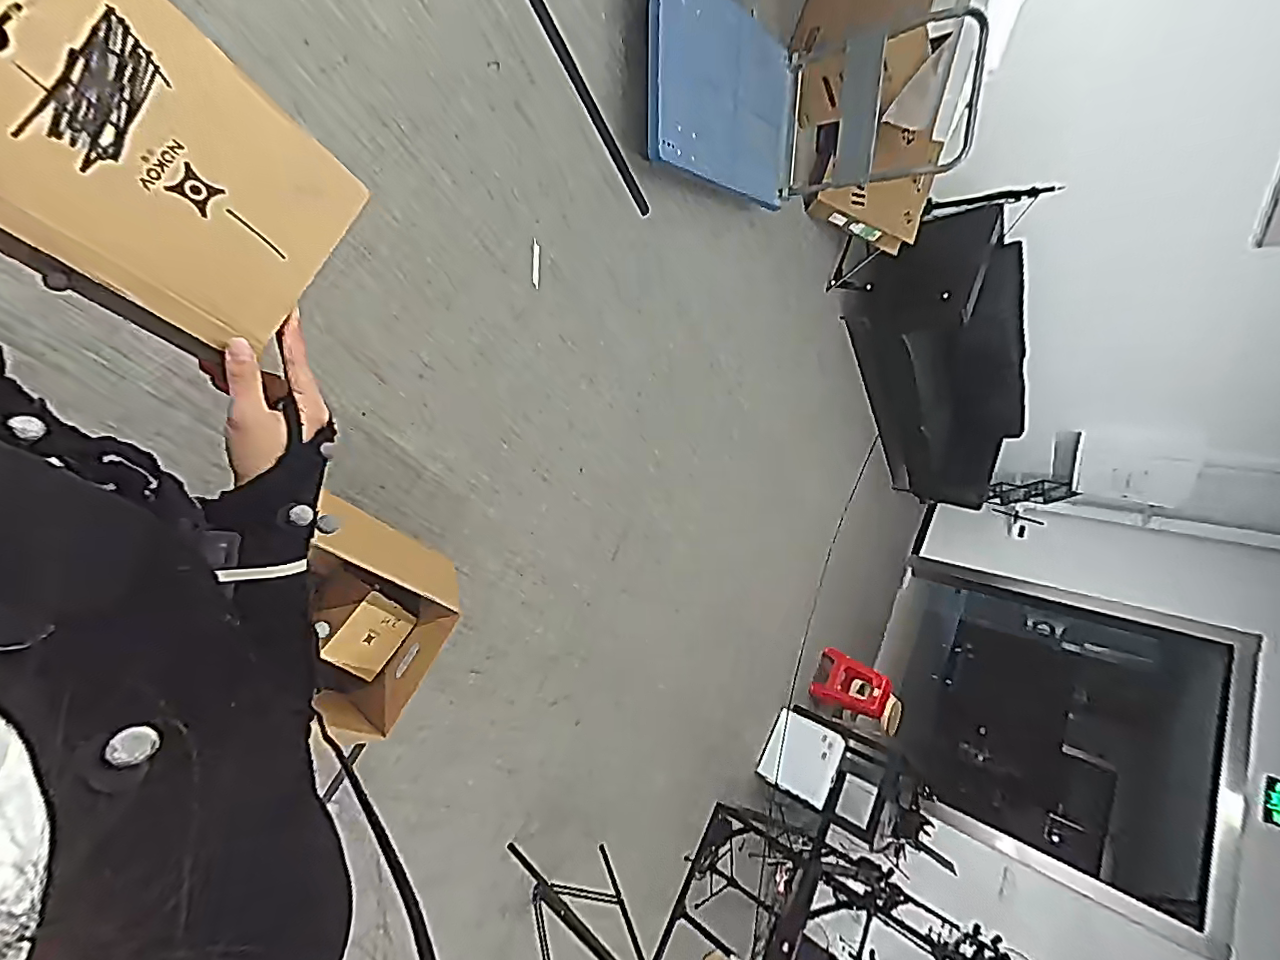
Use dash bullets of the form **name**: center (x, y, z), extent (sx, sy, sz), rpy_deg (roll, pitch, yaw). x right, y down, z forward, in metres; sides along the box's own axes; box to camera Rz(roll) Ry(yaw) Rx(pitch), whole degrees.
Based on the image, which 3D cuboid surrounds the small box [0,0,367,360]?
- **small box**: center (-0.350, -0.205, 0.391), extent (0.179, 0.176, 0.168), rpy_deg (41, 70, -48)
